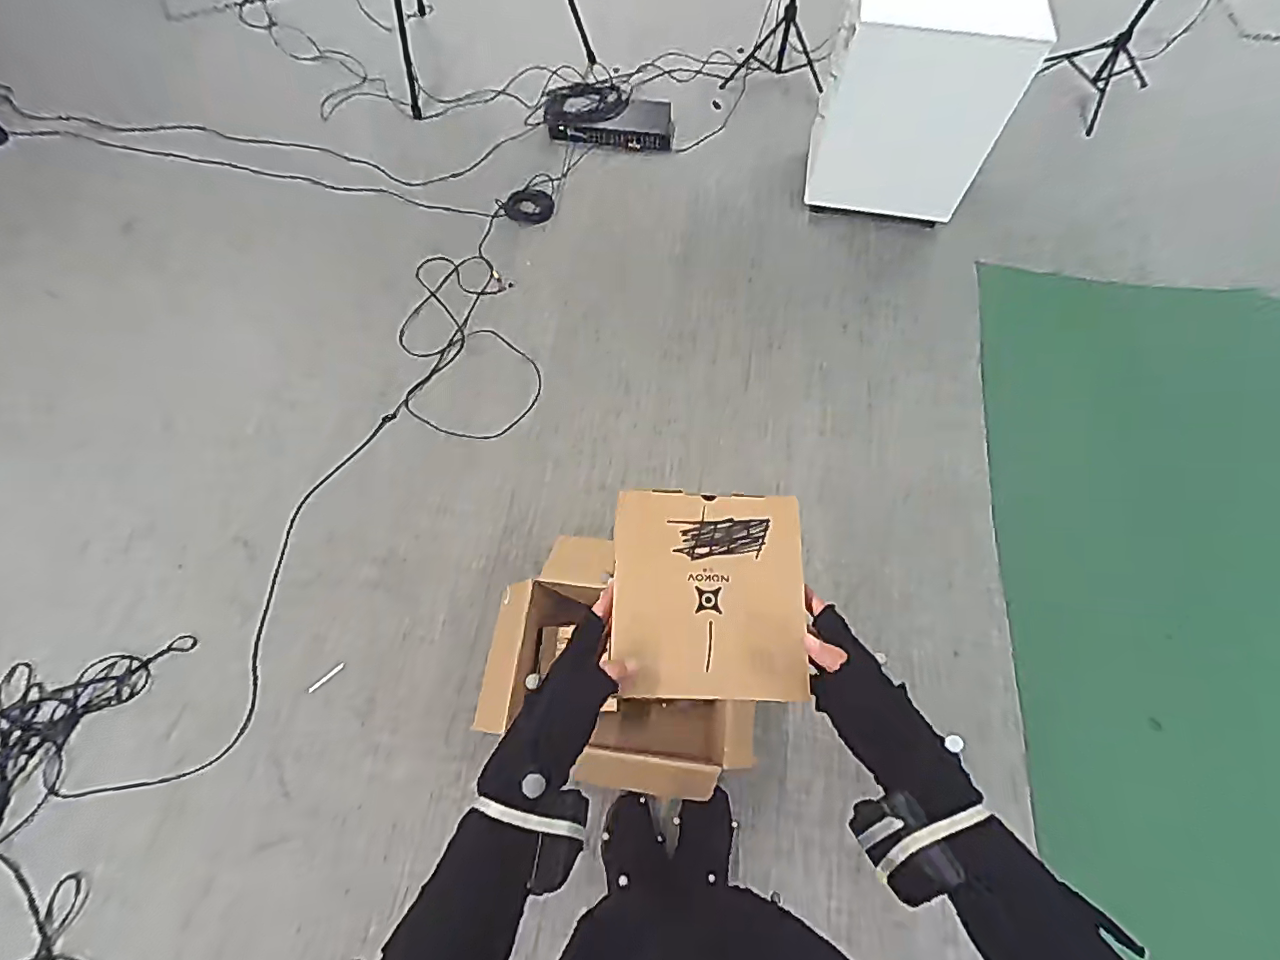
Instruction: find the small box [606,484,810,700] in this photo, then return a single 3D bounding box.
[{"bbox_3d":[0.054,0.115,0.532,0.168,0.176,0.179,3,72,-2],"label":"small box"}]
